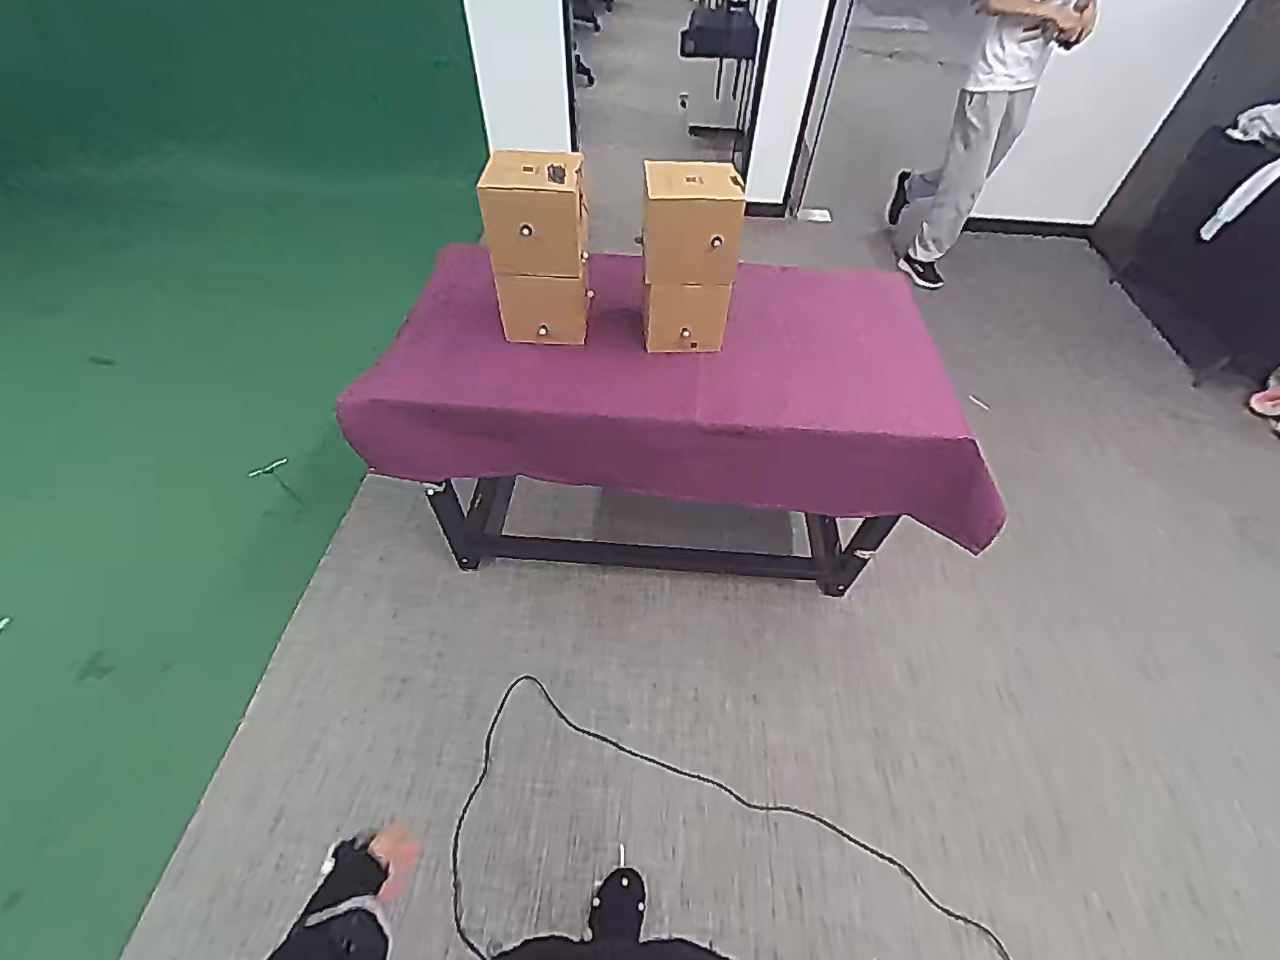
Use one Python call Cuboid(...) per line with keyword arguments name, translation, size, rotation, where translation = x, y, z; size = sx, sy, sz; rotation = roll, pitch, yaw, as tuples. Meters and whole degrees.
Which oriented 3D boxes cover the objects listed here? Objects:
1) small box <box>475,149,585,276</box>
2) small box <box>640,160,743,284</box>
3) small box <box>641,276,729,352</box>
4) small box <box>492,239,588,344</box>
Cuboid(name="small box", translation=(-0.203, -0.518, 1.058), size=(0.179, 0.176, 0.168), rotation=(2, 52, 0))
Cuboid(name="small box", translation=(0.092, -0.500, 1.059), size=(0.179, 0.176, 0.168), rotation=(-1, 51, -2))
Cuboid(name="small box", translation=(0.090, -0.402, 1.189), size=(0.168, 0.176, 0.179), rotation=(-2, 53, -3))
Cuboid(name="small box", translation=(-0.209, -0.417, 1.187), size=(0.179, 0.176, 0.168), rotation=(3, 52, -1))
